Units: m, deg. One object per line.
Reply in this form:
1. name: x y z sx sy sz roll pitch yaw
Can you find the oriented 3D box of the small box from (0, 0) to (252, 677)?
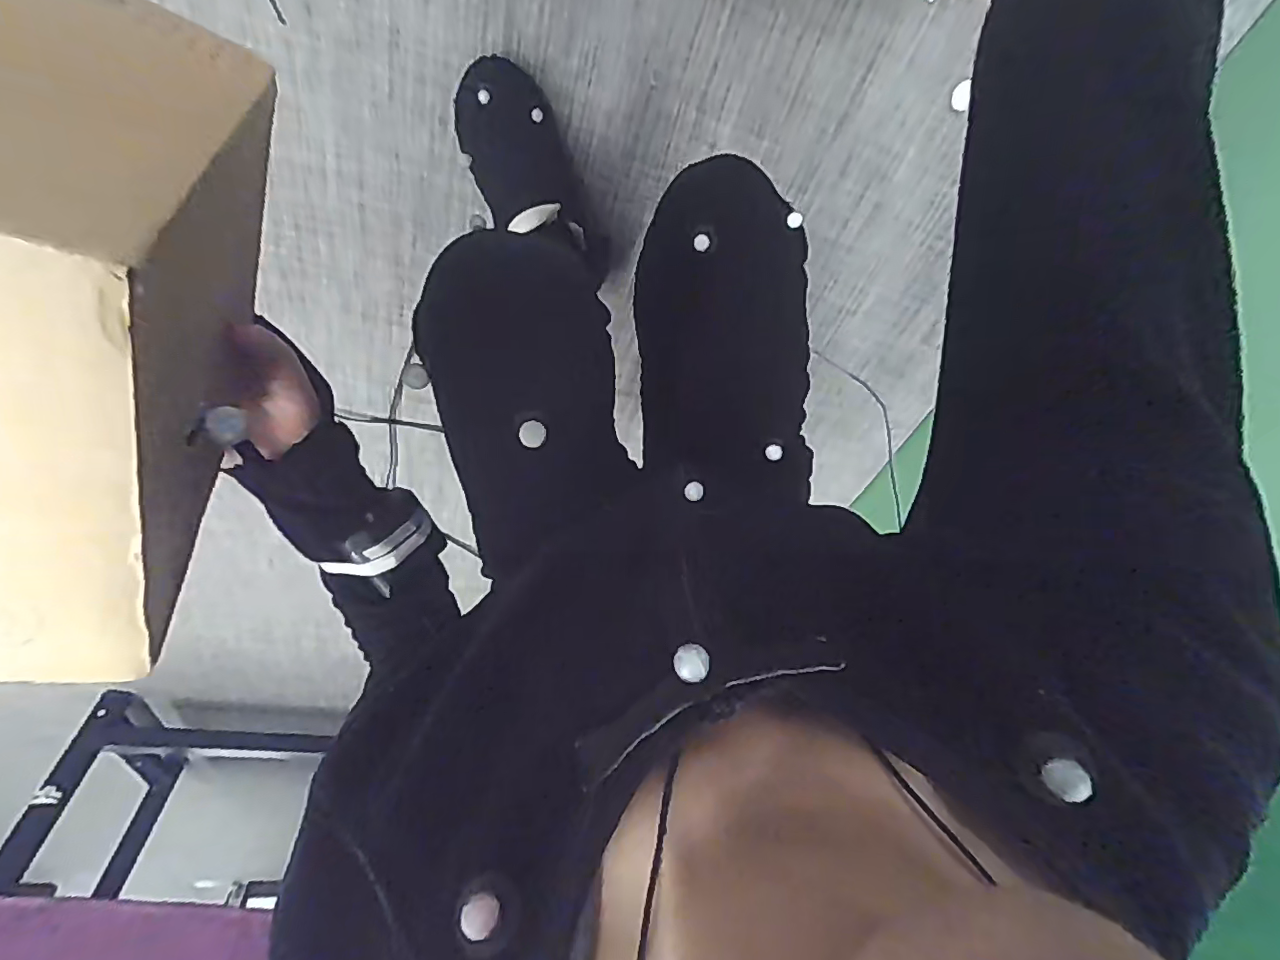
1. small box: -0.227 -0.061 0.152 0.168 0.176 0.179 11 132 -33
